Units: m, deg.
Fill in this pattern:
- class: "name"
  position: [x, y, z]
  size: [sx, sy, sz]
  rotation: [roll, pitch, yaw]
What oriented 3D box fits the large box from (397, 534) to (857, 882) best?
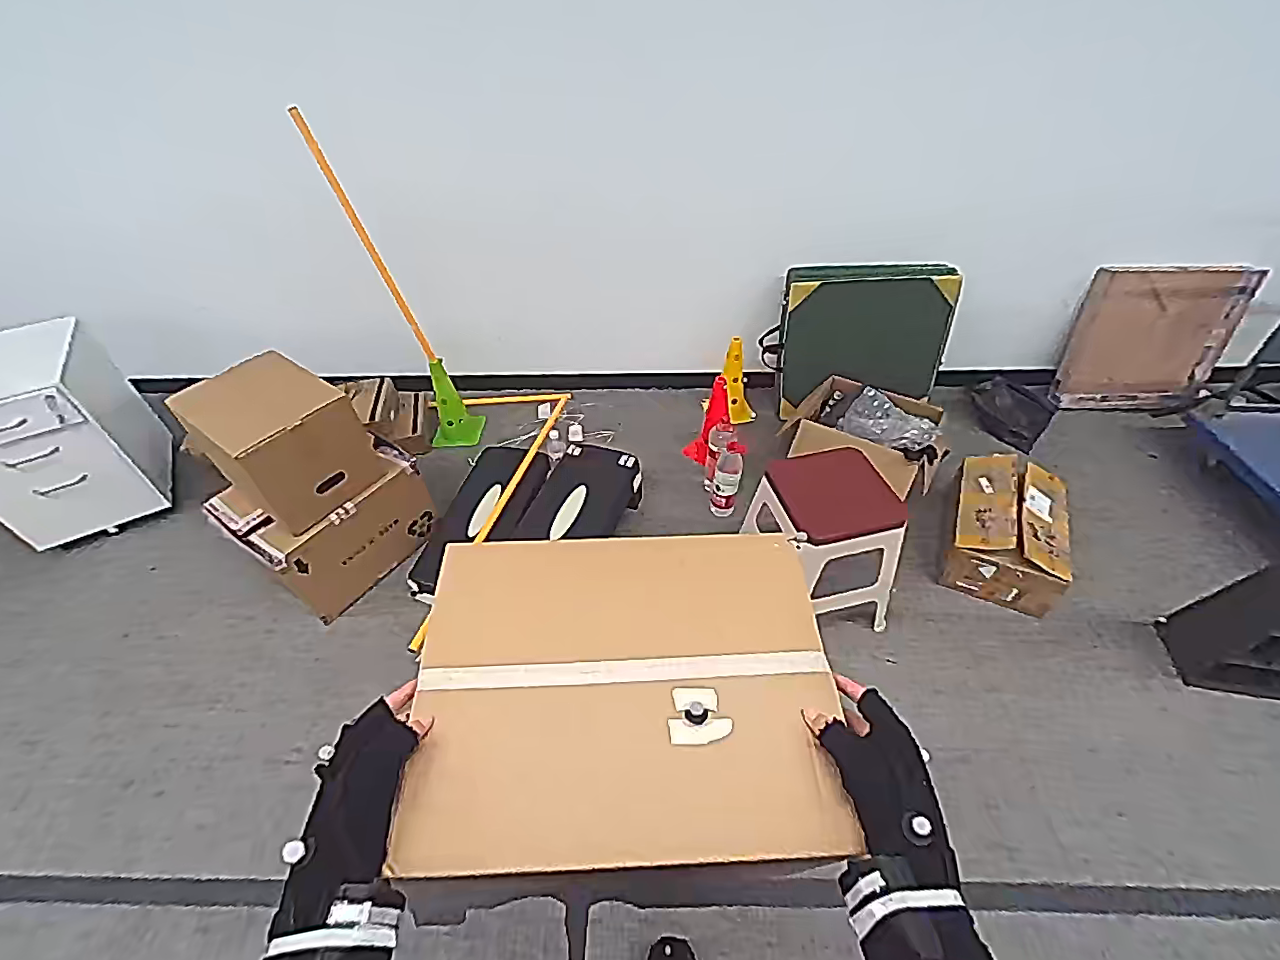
- class: "large box"
  position: [-0.018, 0.284, 0.667]
  size: [0.408, 0.320, 0.320]
  rotation: [-1, 52, -2]
